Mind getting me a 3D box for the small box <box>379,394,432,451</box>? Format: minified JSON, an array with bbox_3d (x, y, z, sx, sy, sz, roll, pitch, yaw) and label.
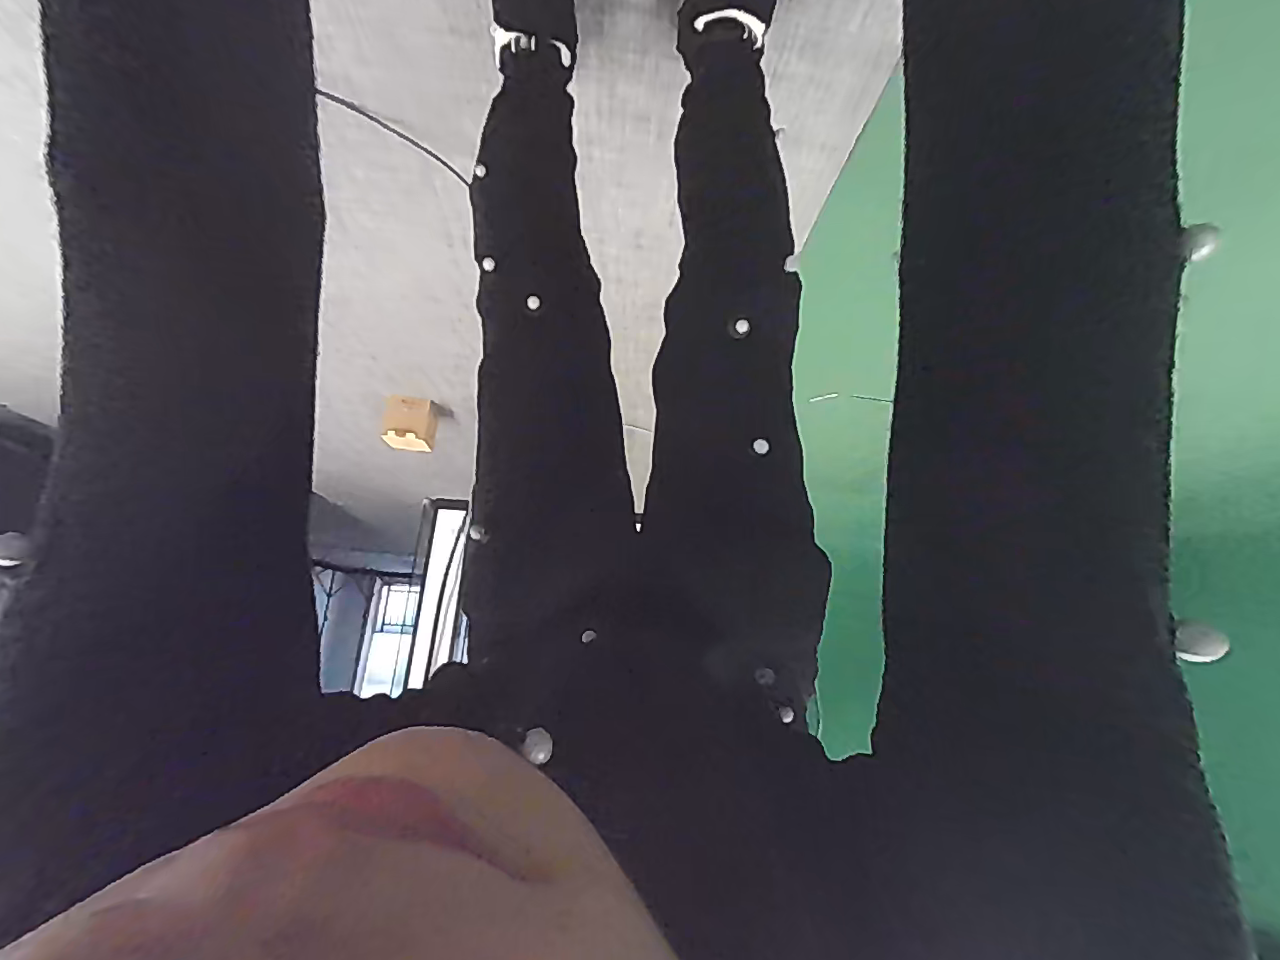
[{"bbox_3d":[-0.946,-0.232,2.199,0.168,0.176,0.179,6,163,-15],"label":"small box"}]
